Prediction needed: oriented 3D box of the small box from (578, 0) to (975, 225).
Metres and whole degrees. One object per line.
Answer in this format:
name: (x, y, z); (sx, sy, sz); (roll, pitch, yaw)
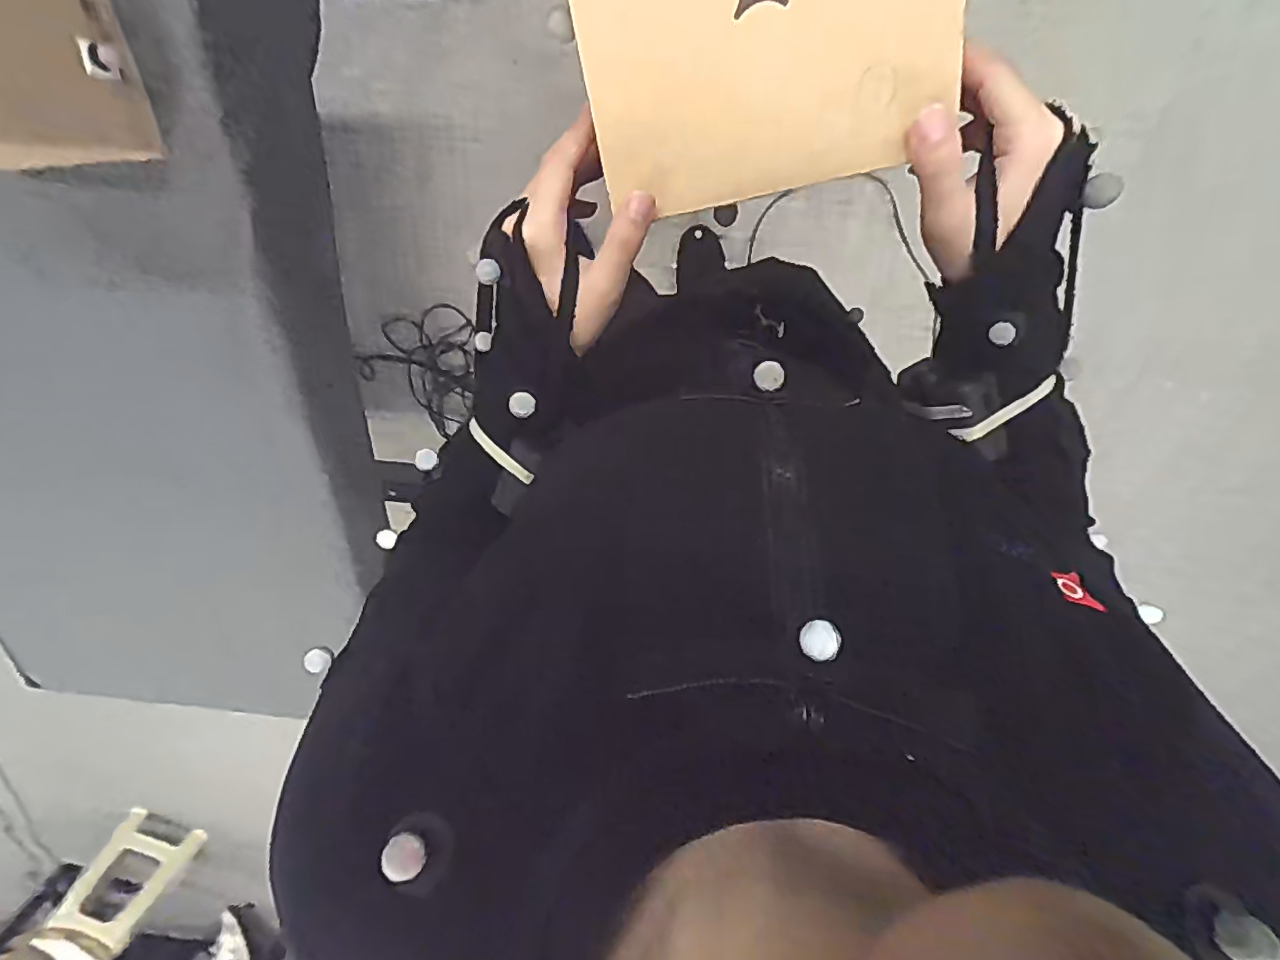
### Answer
small box: (0.061, -0.255, 0.292); (0.168, 0.176, 0.179); (-8, 118, 10)

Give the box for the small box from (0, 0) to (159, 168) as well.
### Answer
small box: (-0.540, -0.336, 0.408); (0.179, 0.176, 0.168); (-2, 119, 5)
